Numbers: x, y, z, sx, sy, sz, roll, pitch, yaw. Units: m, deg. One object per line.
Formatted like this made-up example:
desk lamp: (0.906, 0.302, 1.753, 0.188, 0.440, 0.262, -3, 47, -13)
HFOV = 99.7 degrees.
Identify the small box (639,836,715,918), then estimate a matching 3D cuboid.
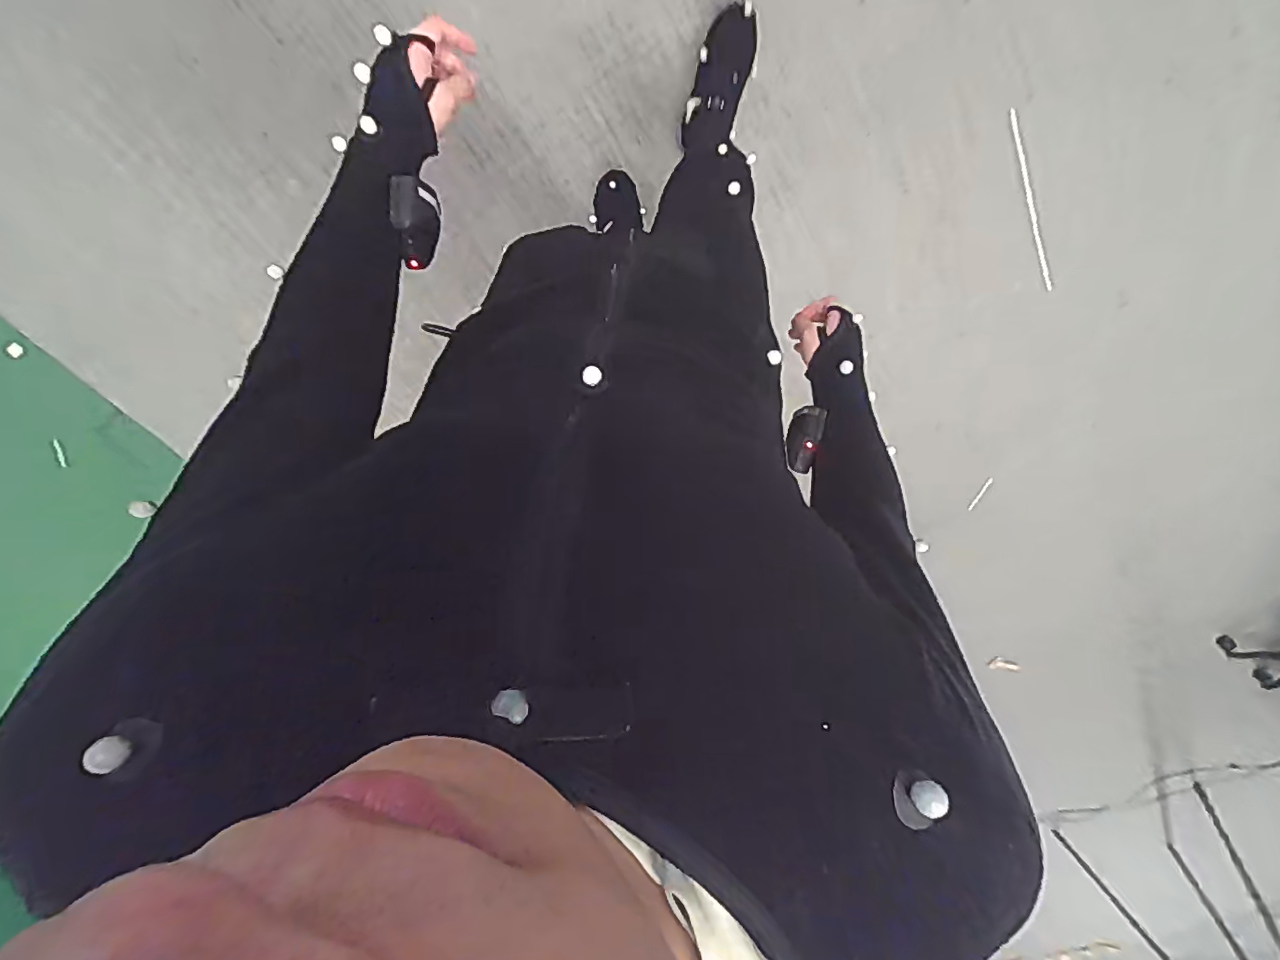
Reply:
small box: (0.115, 1.223, 1.650, 0.168, 0.176, 0.179, -27, 119, 20)

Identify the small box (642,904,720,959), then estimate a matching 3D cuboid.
small box: (0.113, 1.321, 1.519, 0.168, 0.176, 0.179, -28, 120, 20)
